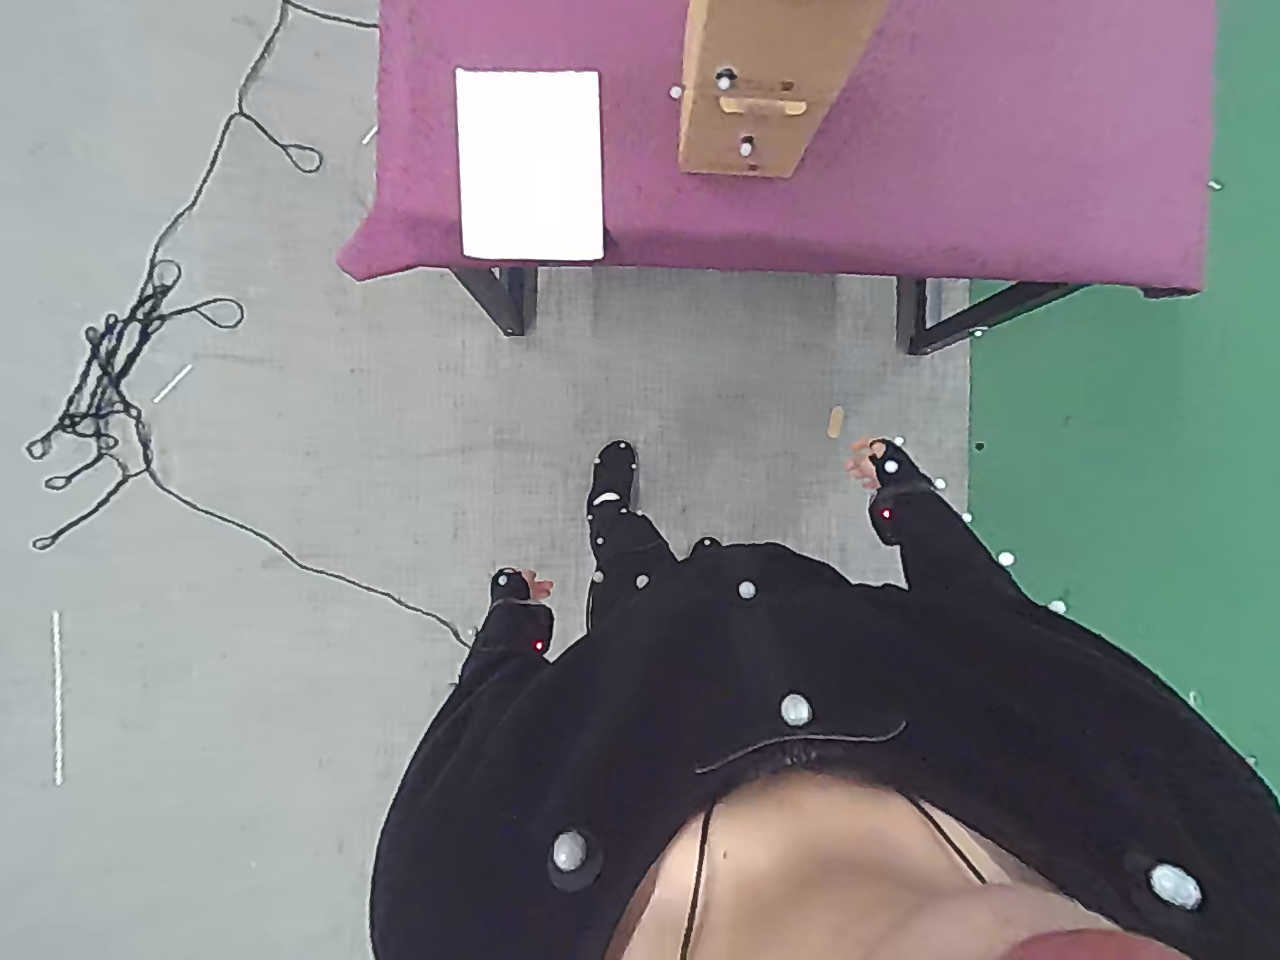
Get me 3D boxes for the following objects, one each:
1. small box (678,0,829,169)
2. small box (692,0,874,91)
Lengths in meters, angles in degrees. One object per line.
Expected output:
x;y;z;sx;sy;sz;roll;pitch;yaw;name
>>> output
0.141;-0.535;0.701;0.168;0.176;0.179;3;90;-2;small box
0.145;-0.529;0.536;0.168;0.176;0.179;3;89;-1;small box
